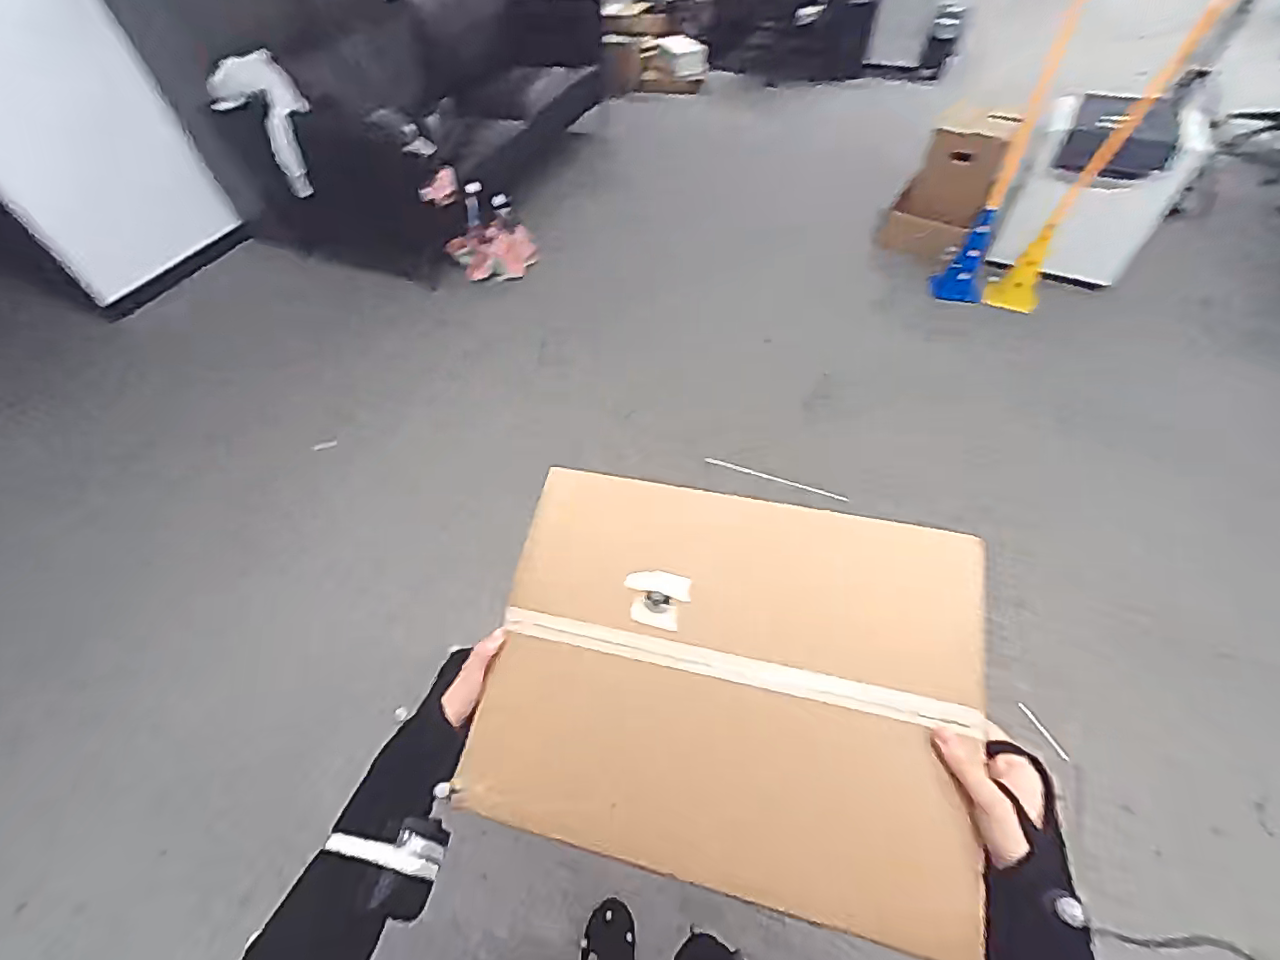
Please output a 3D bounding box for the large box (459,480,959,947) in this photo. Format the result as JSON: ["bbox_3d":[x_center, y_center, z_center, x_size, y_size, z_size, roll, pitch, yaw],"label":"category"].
[{"bbox_3d":[0.088,0.224,0.614,0.408,0.320,0.320,10,68,13],"label":"large box"}]
